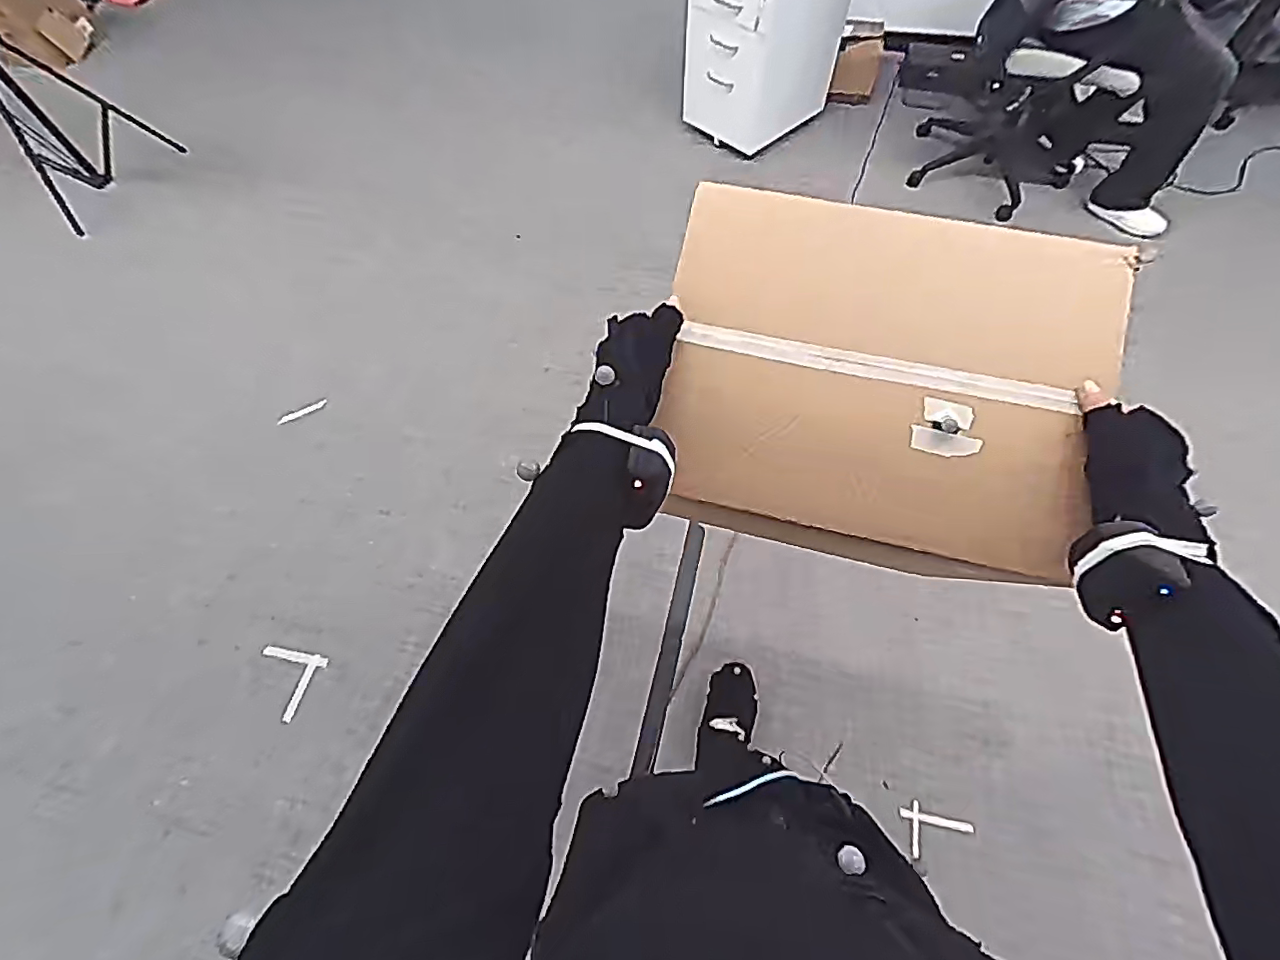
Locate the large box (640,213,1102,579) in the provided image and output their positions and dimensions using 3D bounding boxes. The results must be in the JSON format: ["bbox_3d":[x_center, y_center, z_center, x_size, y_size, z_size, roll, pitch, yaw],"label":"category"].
[{"bbox_3d":[0.232,-0.074,0.670,0.408,0.320,0.320,12,84,6],"label":"large box"}]
